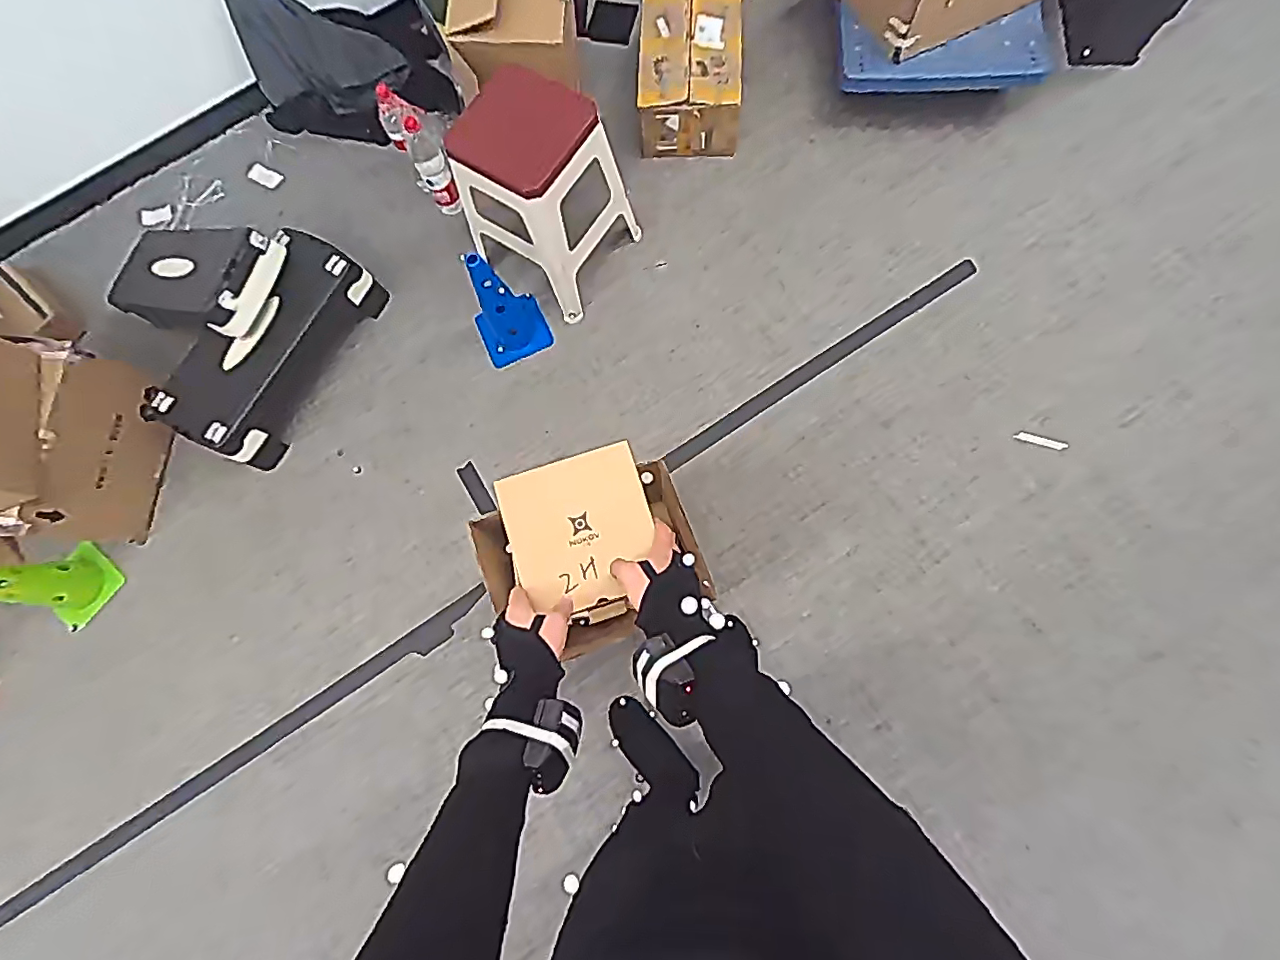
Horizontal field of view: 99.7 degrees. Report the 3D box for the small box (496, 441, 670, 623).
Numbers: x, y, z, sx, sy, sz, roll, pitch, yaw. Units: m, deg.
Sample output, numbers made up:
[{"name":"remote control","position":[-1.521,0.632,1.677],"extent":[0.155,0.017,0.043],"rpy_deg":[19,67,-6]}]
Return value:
[{"name":"small box","position":[-0.067,0.070,0.697],"extent":[0.168,0.176,0.179],"rpy_deg":[-17,81,-2]}]
